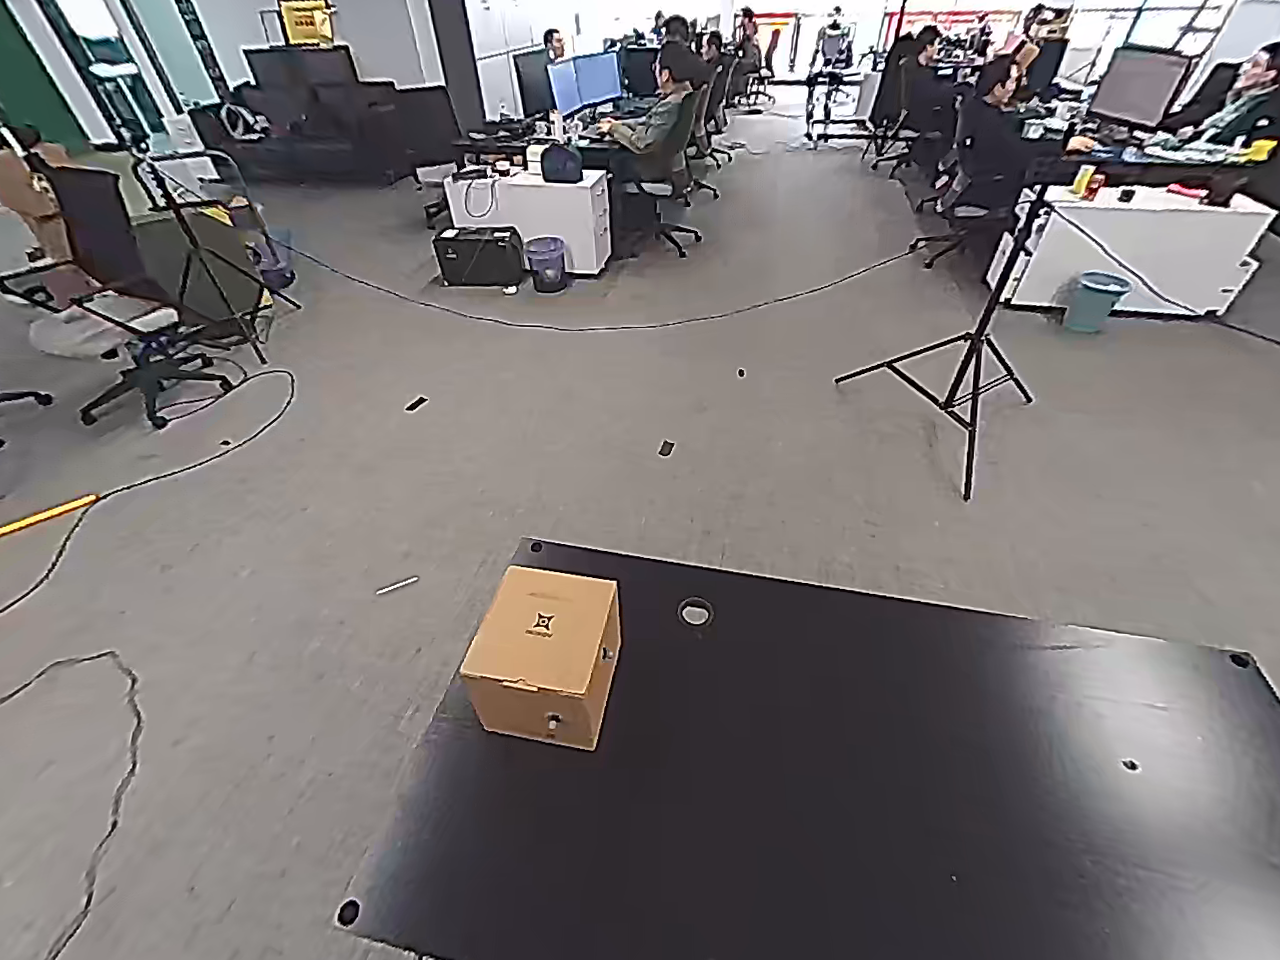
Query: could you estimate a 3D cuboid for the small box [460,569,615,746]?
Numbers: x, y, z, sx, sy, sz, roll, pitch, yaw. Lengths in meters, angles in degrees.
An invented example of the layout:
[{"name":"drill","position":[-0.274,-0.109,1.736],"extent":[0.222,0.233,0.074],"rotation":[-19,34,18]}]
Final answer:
[{"name":"small box","position":[-0.131,0.257,0.781],"extent":[0.168,0.176,0.179],"rotation":[7,42,8]}]
